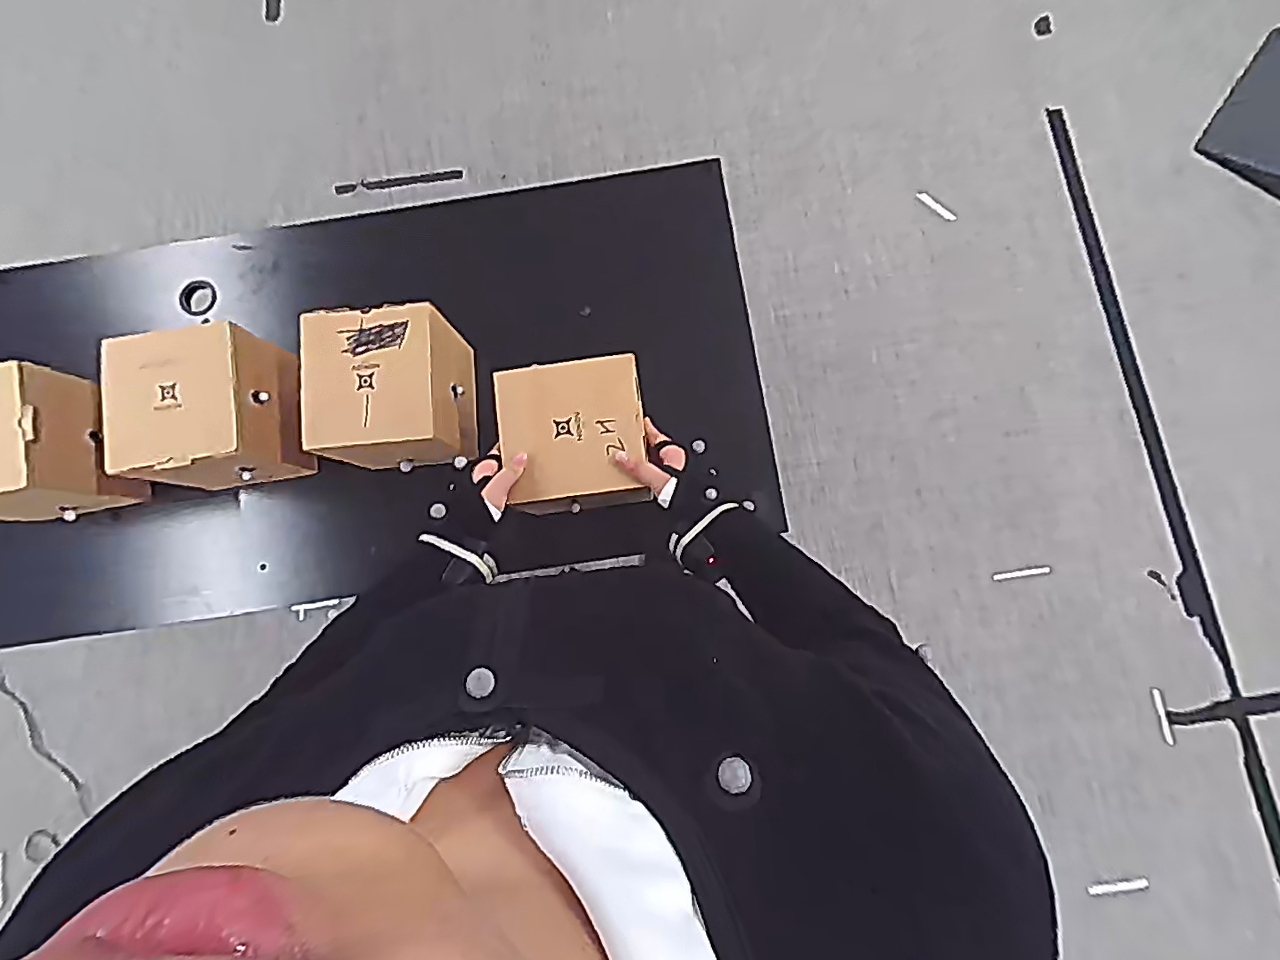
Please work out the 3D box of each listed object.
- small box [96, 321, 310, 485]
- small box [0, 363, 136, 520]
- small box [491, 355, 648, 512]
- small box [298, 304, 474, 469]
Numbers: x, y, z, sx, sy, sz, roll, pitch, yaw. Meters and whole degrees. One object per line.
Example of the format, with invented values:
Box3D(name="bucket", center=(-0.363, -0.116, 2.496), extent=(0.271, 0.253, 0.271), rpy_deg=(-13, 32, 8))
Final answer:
Box3D(name="small box", center=(-0.584, -0.093, 0.744), extent=(0.168, 0.176, 0.179), rpy_deg=(-10, 81, -1))
Box3D(name="small box", center=(-0.841, -0.043, 0.739), extent=(0.179, 0.176, 0.168), rpy_deg=(-11, 82, -1))
Box3D(name="small box", center=(-0.085, -0.051, 0.727), extent=(0.179, 0.176, 0.168), rpy_deg=(-7, 83, 0))
Box3D(name="small box", center=(-0.335, -0.118, 0.741), extent=(0.168, 0.176, 0.179), rpy_deg=(-5, 83, 0))
